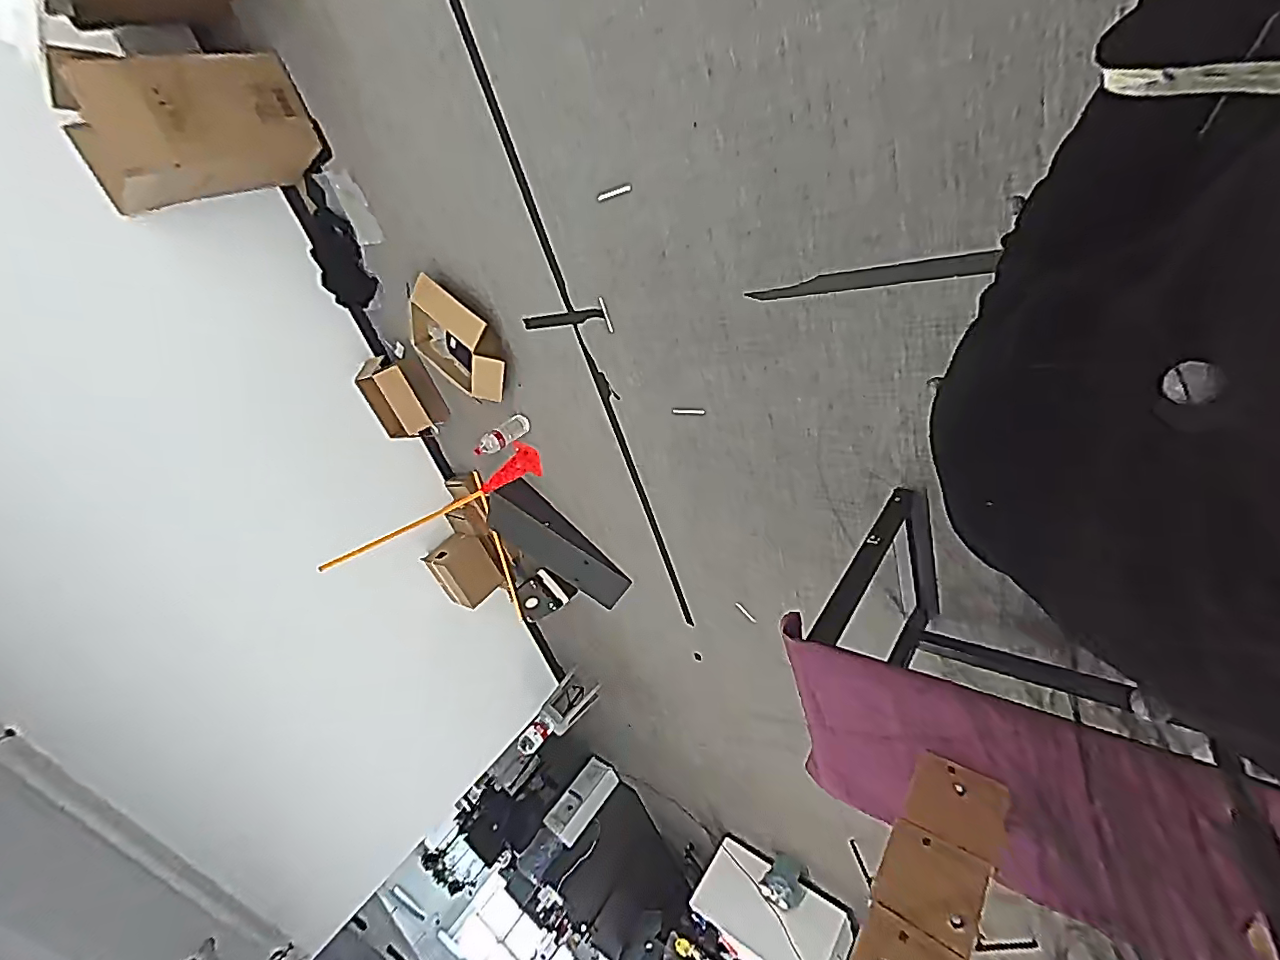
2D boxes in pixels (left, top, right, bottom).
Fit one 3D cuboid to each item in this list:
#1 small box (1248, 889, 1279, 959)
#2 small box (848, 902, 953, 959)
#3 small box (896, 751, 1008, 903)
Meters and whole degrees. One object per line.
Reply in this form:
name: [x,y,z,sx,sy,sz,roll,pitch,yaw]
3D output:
small box: [1.011,0.749,0.773,0.168,0.176,0.179,10,129,42]
small box: [0.451,0.887,0.935,0.168,0.176,0.179,16,135,39]
small box: [0.650,0.715,1.129,0.168,0.176,0.179,13,132,38]
